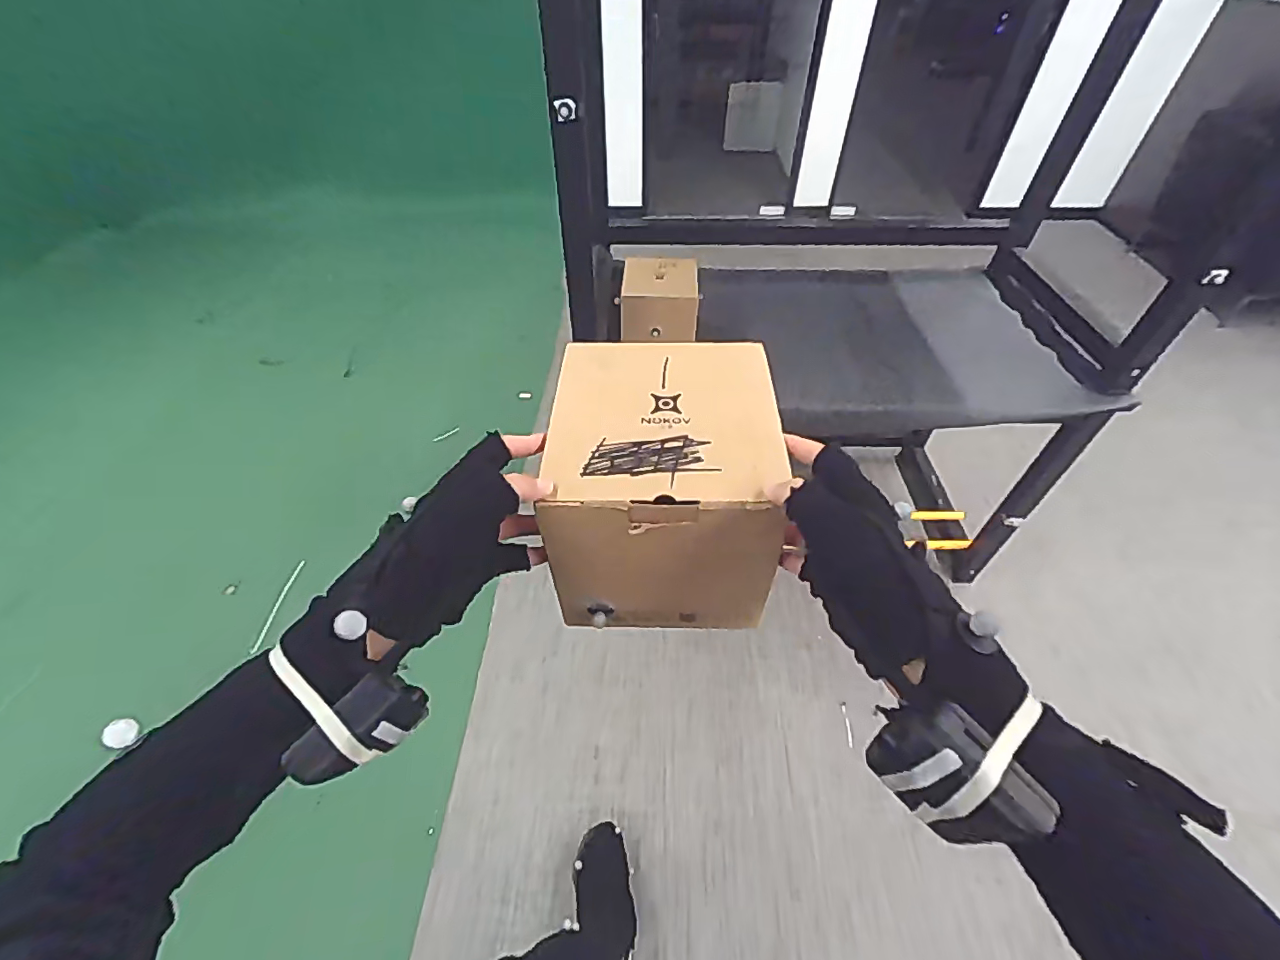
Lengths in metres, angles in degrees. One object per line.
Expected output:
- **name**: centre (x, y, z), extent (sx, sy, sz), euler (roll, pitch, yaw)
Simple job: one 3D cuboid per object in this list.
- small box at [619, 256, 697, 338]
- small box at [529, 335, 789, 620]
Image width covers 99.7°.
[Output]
- **small box**: centre (0.044, -0.394, 1.241), extent (0.168, 0.176, 0.179), euler (3, 47, 2)
- **small box**: centre (0.017, 0.001, 0.446), extent (0.168, 0.176, 0.179), euler (1, 47, 2)
